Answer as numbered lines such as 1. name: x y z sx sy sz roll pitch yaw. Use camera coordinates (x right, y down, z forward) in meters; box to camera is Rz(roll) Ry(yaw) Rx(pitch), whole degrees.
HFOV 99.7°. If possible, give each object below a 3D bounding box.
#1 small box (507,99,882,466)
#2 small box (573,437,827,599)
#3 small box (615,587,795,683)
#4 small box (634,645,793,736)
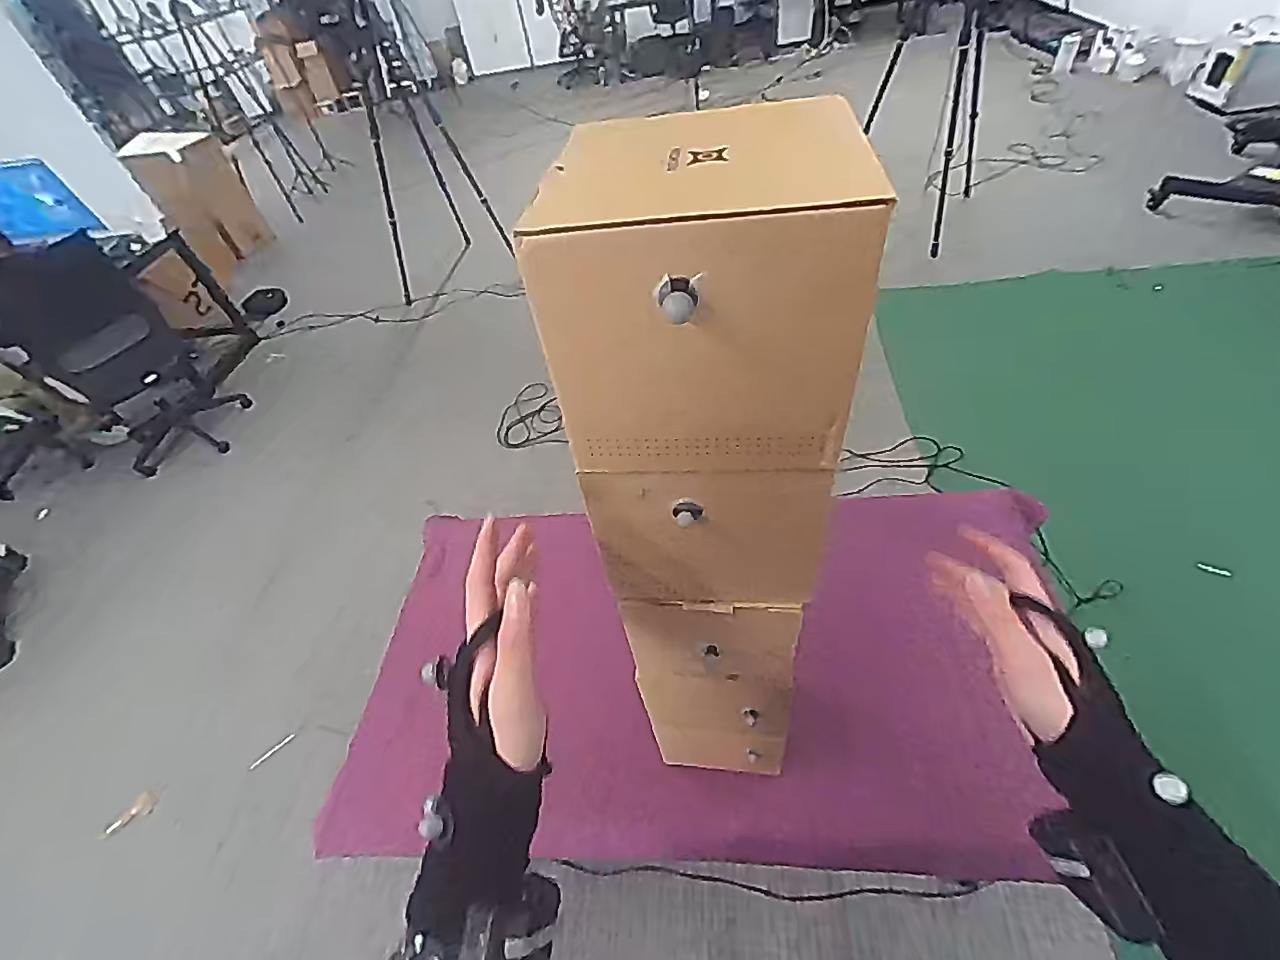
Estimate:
1. small box: 0.040 -0.121 0.358 0.179 0.176 0.168 -1 47 10
2. small box: 0.056 -0.009 0.474 0.179 0.176 0.168 0 47 9
3. small box: 0.079 0.105 0.591 0.168 0.176 0.179 1 48 11
4. small box: 0.101 0.219 0.705 0.179 0.176 0.168 0 47 12
